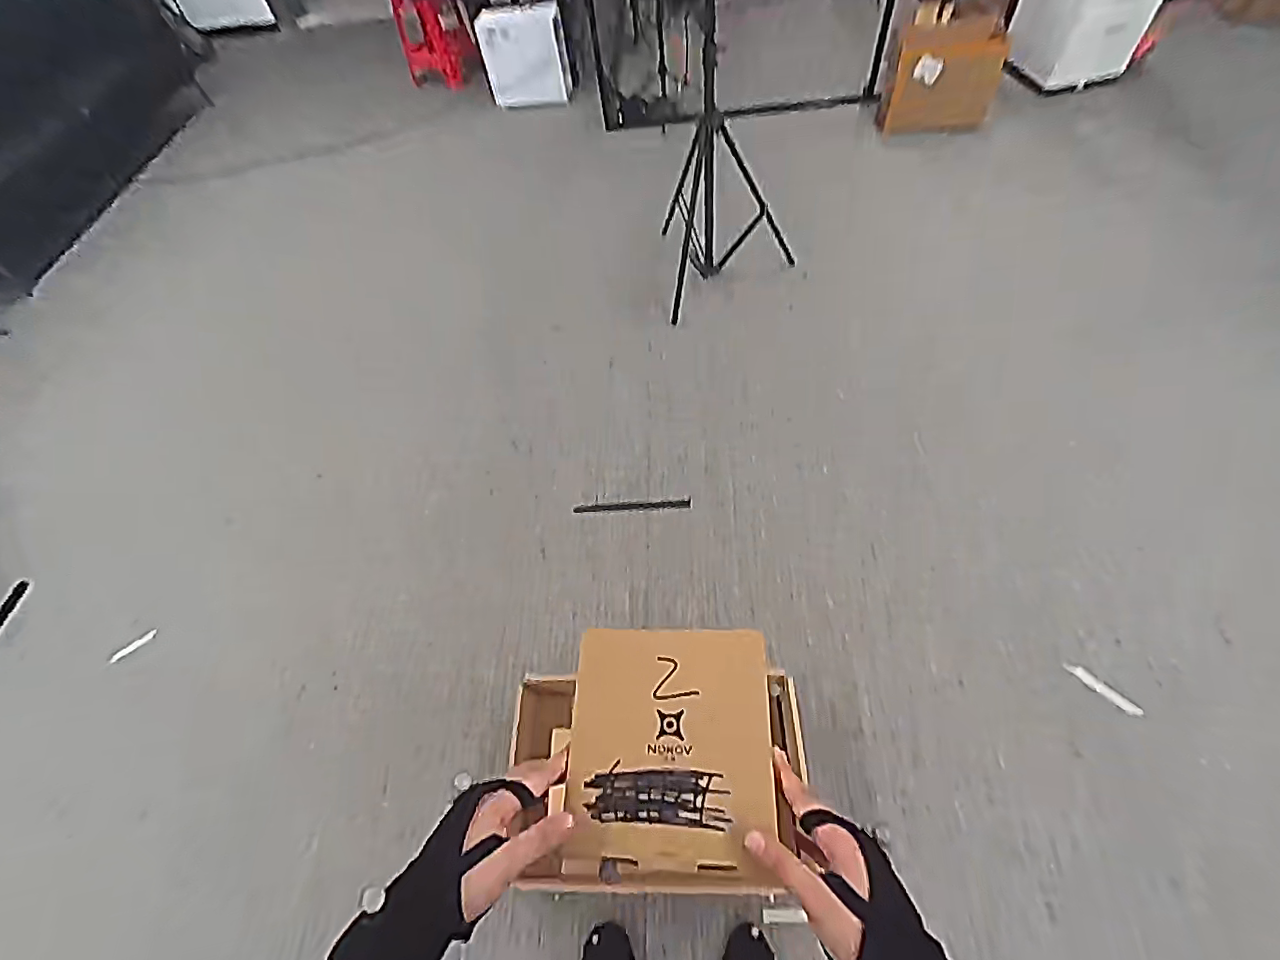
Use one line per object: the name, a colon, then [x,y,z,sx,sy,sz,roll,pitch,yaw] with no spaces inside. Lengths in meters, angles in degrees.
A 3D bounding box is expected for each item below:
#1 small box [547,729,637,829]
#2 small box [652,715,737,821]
small box: [-0.096,0.645,1.163,0.168,0.176,0.179,-4,57,2]
small box: [0.120,0.618,1.157,0.168,0.176,0.179,1,57,8]
